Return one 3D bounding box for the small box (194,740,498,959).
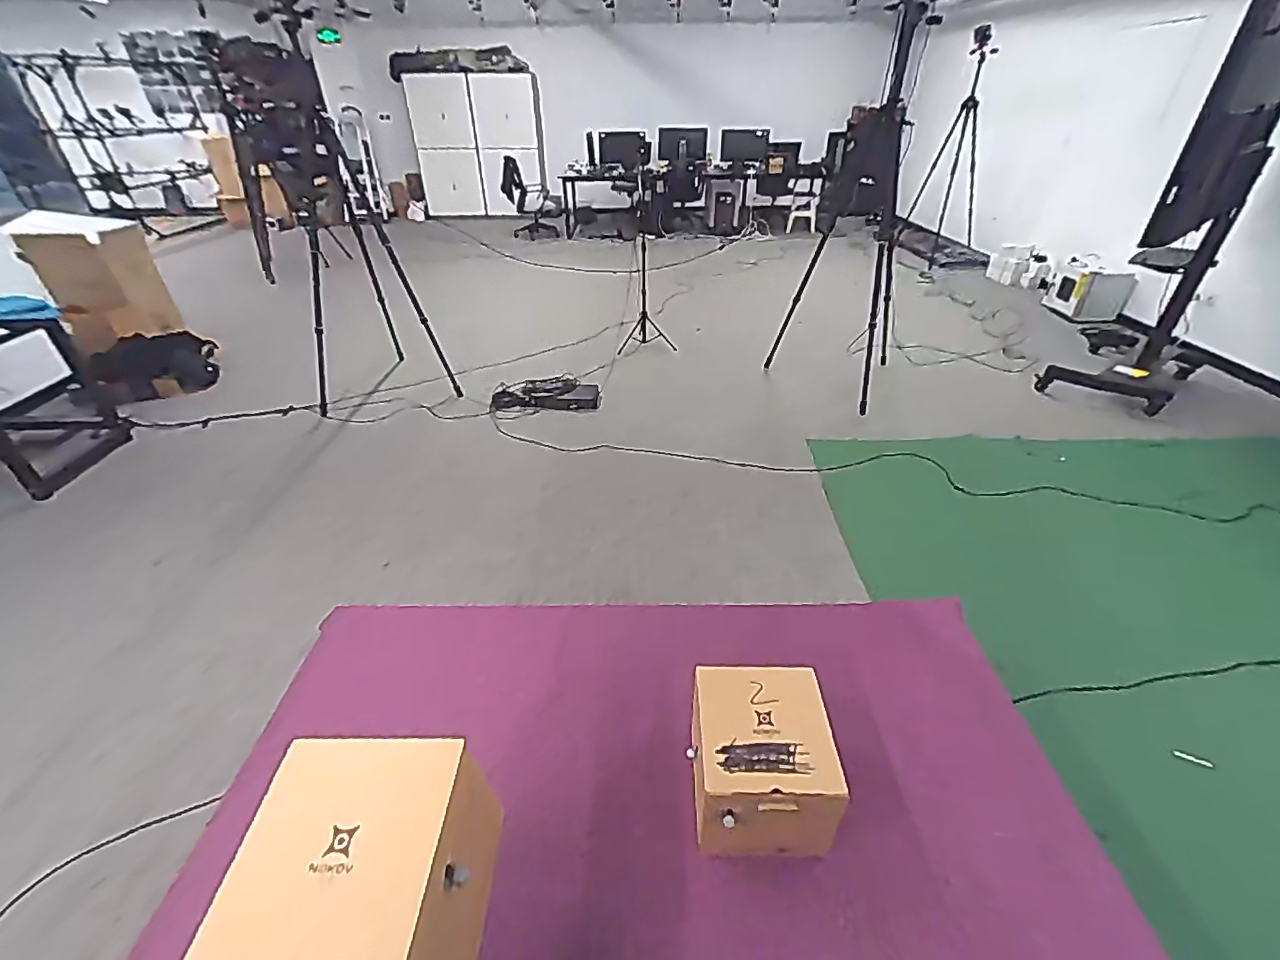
[{"bbox_3d":[-0.241,0.366,0.502,0.168,0.176,0.179,-1,41,3],"label":"small box"}]
